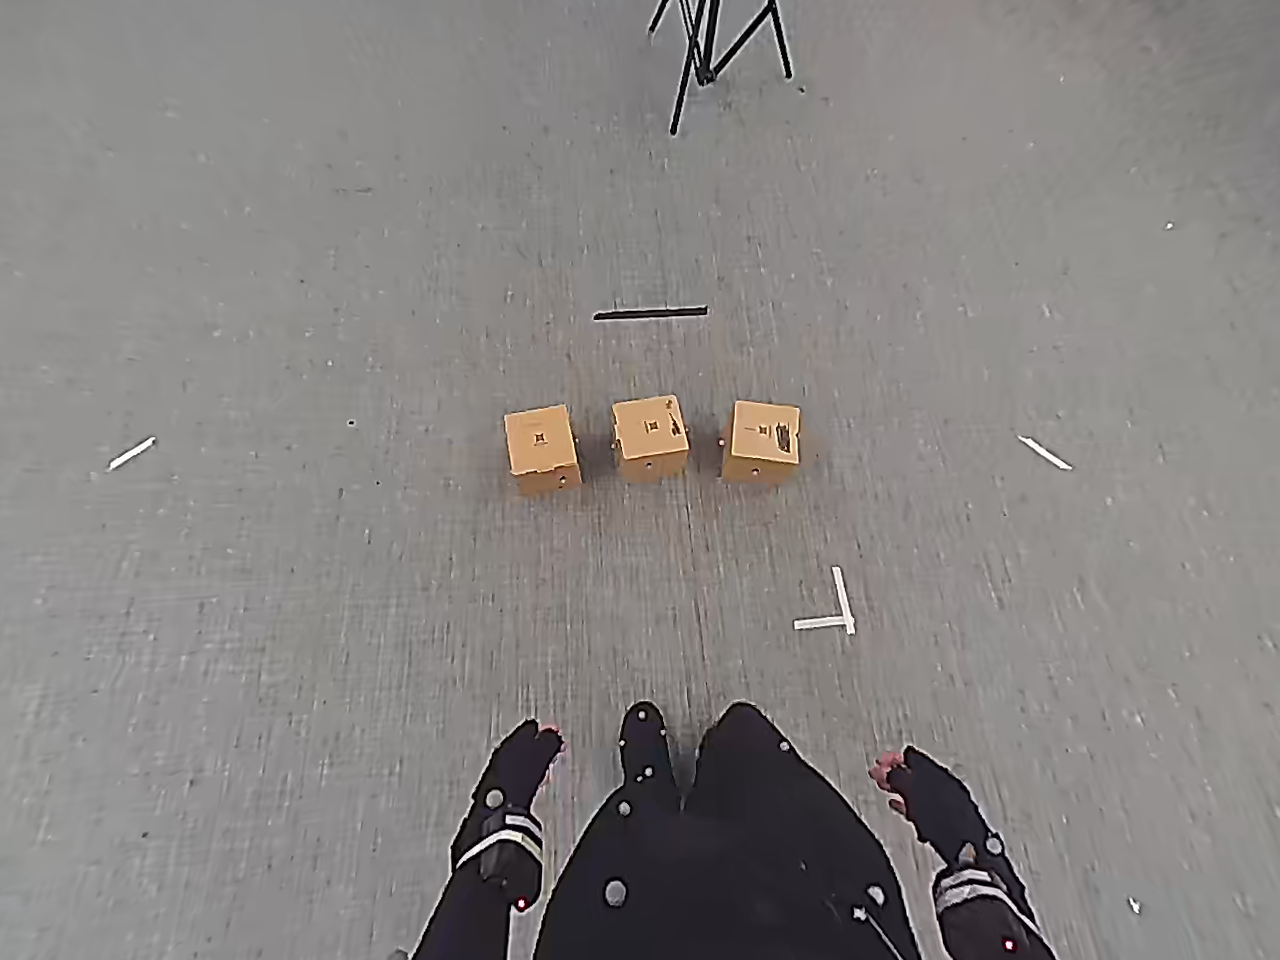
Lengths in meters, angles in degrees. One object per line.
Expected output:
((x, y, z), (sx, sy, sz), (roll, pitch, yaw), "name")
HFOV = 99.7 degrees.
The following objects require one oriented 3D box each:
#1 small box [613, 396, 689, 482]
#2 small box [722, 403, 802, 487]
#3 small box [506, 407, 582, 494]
((0.028, -0.106, 1.477), (0.179, 0.176, 0.168), (-10, 70, -5), "small box")
((0.330, -0.090, 1.483), (0.179, 0.176, 0.168), (8, 69, 2), "small box")
((-0.254, -0.071, 1.455), (0.168, 0.176, 0.179), (-11, 69, -7), "small box")
